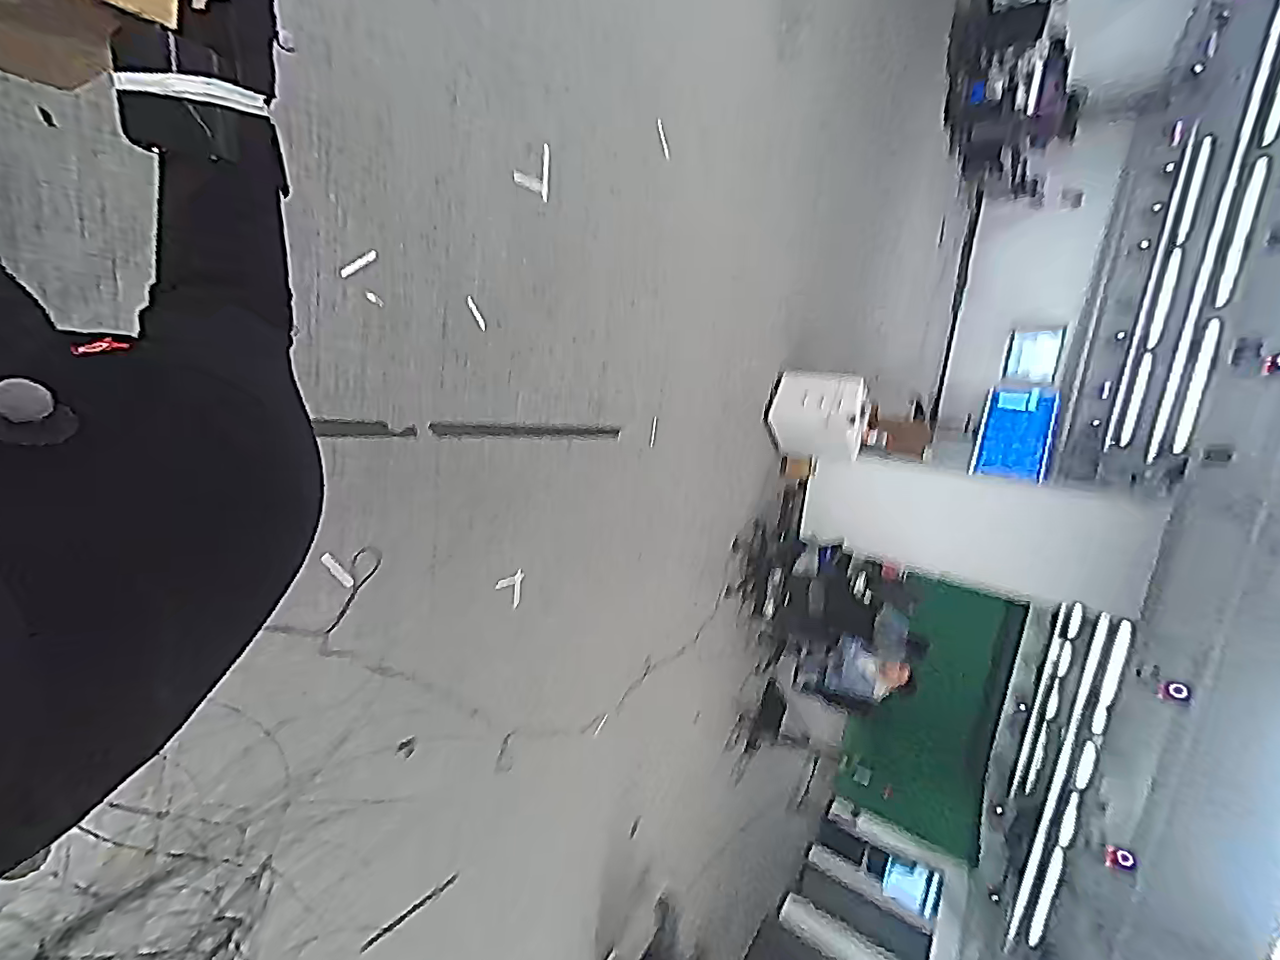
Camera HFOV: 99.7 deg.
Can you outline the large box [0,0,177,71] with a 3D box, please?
[{"bbox_3d":[-0.499,-0.449,0.219,0.408,0.320,0.320,-11,116,-53],"label":"large box"}]
